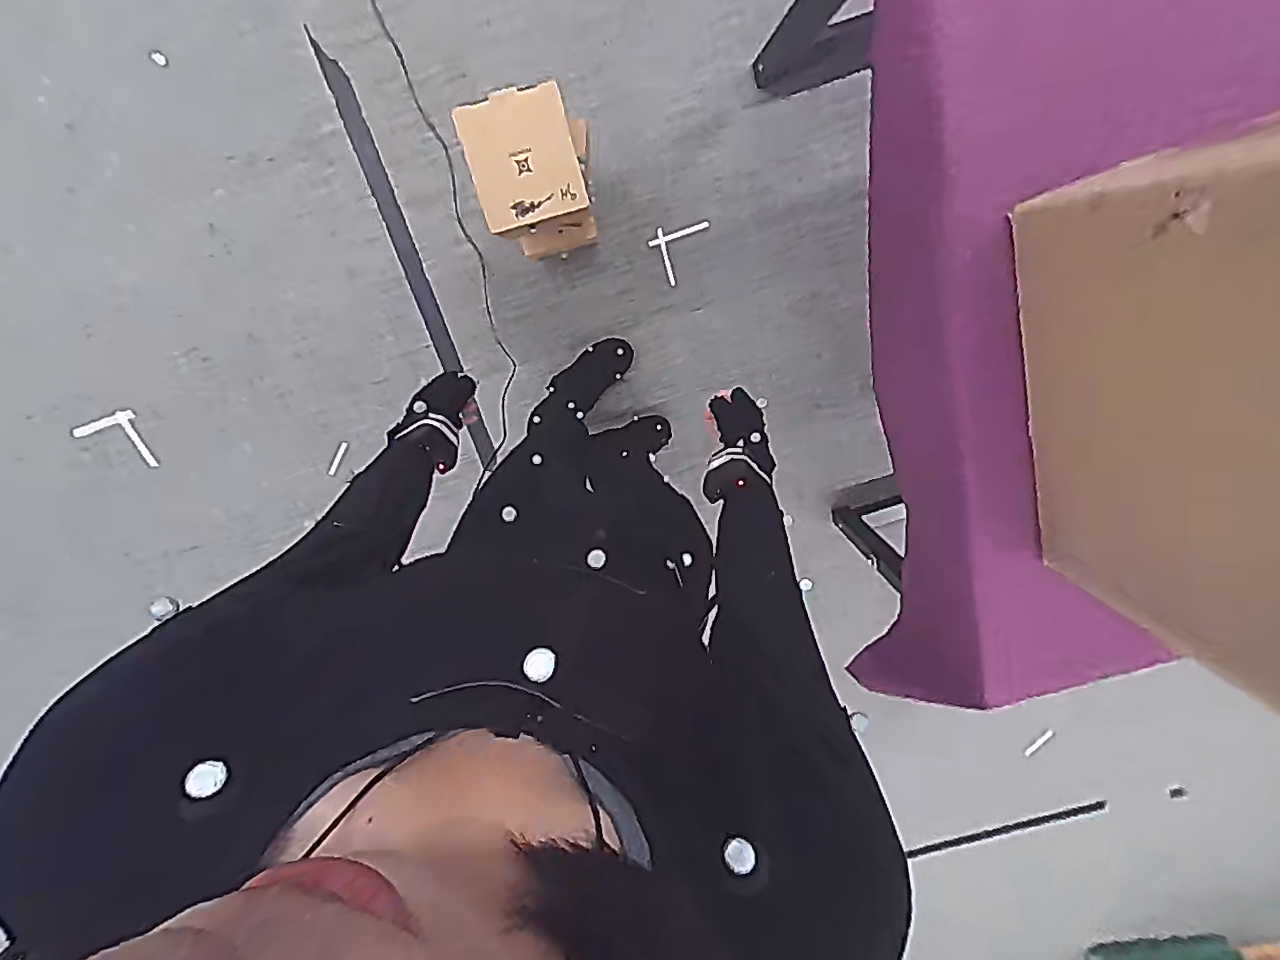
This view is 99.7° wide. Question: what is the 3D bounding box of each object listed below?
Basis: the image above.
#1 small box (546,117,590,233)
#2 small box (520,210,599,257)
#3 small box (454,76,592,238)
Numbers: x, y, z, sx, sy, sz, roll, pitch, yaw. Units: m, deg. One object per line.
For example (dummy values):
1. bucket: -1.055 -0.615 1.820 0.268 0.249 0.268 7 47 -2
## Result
1. small box: -0.185 -0.581 1.038 0.168 0.176 0.179 3 109 -6
2. small box: -0.193 -0.607 1.201 0.168 0.176 0.179 -14 111 2
3. small box: -0.180 -0.515 0.888 0.168 0.176 0.179 -15 110 2
